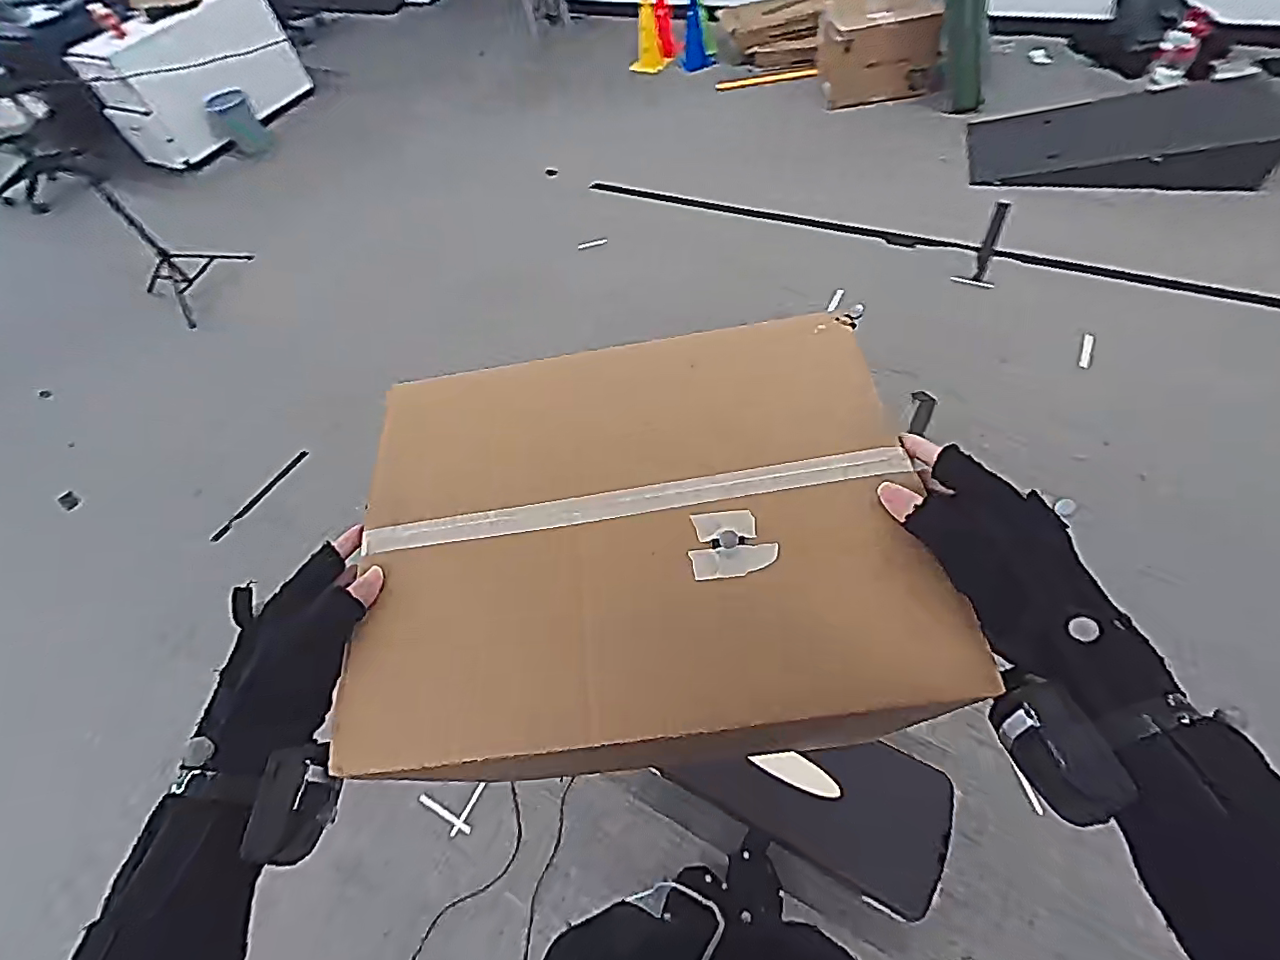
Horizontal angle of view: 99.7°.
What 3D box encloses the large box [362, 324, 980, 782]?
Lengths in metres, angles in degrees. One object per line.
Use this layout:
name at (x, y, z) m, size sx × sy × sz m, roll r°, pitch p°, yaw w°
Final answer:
large box at (0.014, 0.097, 0.540) m, size 0.408 × 0.320 × 0.320 m, roll -9°, pitch 60°, yaw 3°
